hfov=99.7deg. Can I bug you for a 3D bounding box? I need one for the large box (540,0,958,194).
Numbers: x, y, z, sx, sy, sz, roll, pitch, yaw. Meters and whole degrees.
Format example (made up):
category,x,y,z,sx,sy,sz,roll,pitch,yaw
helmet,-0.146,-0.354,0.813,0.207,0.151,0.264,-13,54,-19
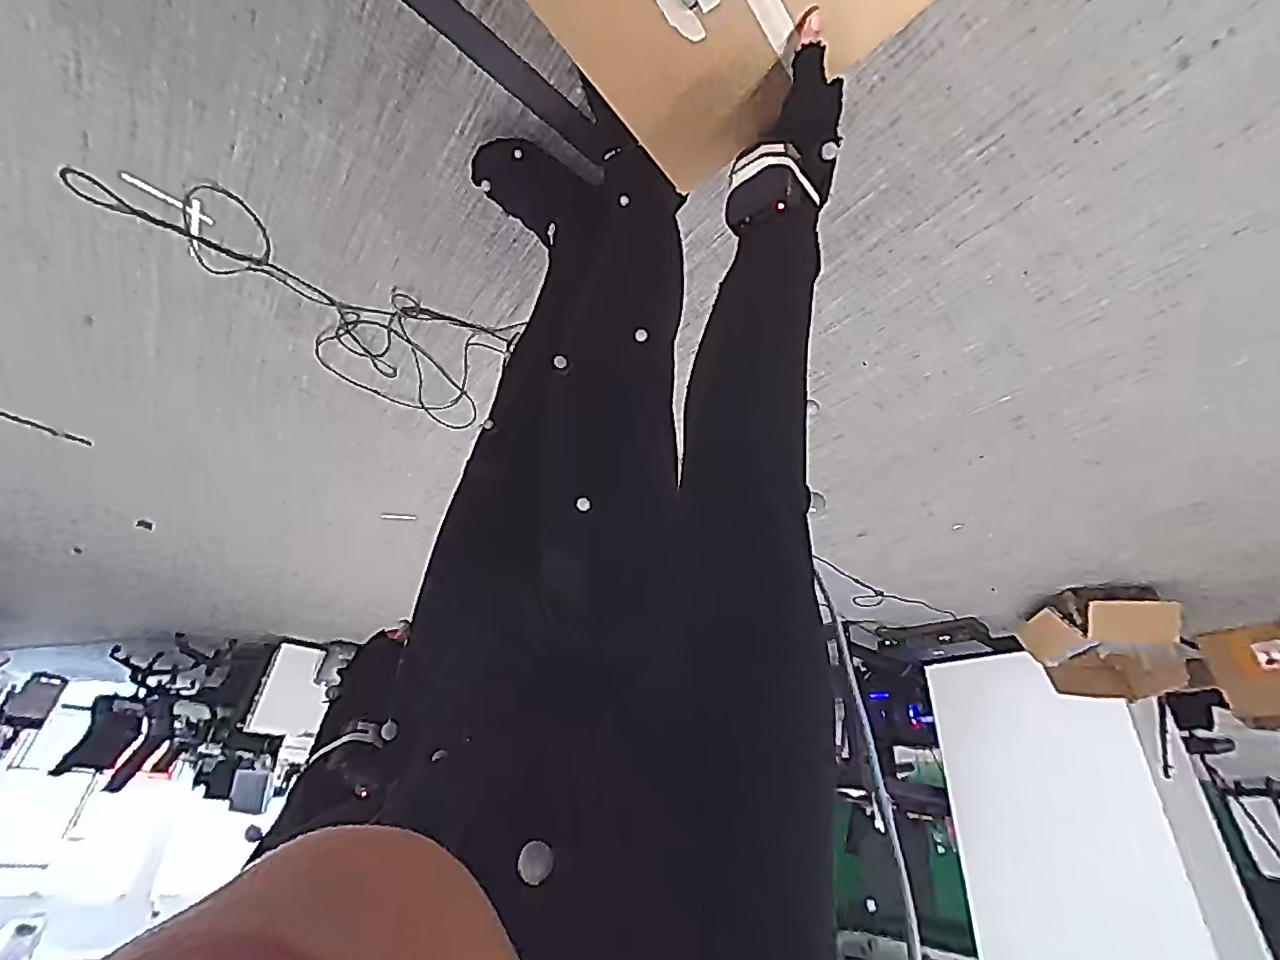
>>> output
category,x,y,z,sx,sy,sz,roll,pitch,yaw
large box,0.056,-0.576,0.476,0.320,0.320,0.408,-22,141,36
